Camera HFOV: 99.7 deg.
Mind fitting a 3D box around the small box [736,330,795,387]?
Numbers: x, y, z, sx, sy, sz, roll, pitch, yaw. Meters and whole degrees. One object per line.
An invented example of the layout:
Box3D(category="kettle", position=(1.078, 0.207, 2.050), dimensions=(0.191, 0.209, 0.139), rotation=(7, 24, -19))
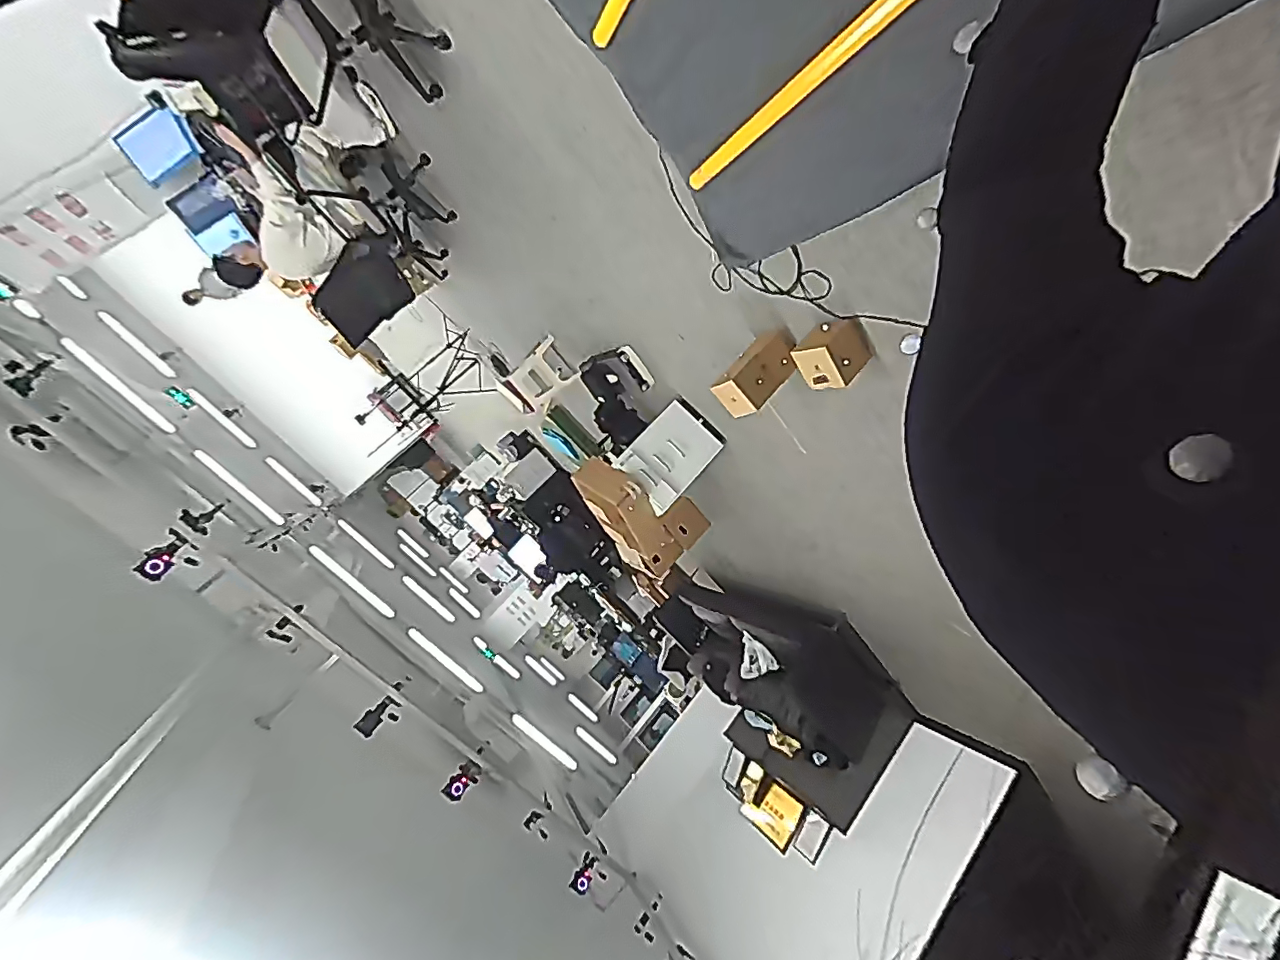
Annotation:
Box3D(category="small box", position=(0.522, -0.489, 2.226), dimensions=(0.168, 0.176, 0.179), rotation=(47, 163, -15))

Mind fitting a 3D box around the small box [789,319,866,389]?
Box3D(category="small box", position=(0.682, -0.453, 1.954), dimensions=(0.179, 0.176, 0.168), rotation=(51, 161, -23))

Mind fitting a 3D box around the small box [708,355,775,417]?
Box3D(category="small box", position=(0.415, -0.377, 2.169), dimensions=(0.168, 0.176, 0.179), rotation=(47, 163, -14))
